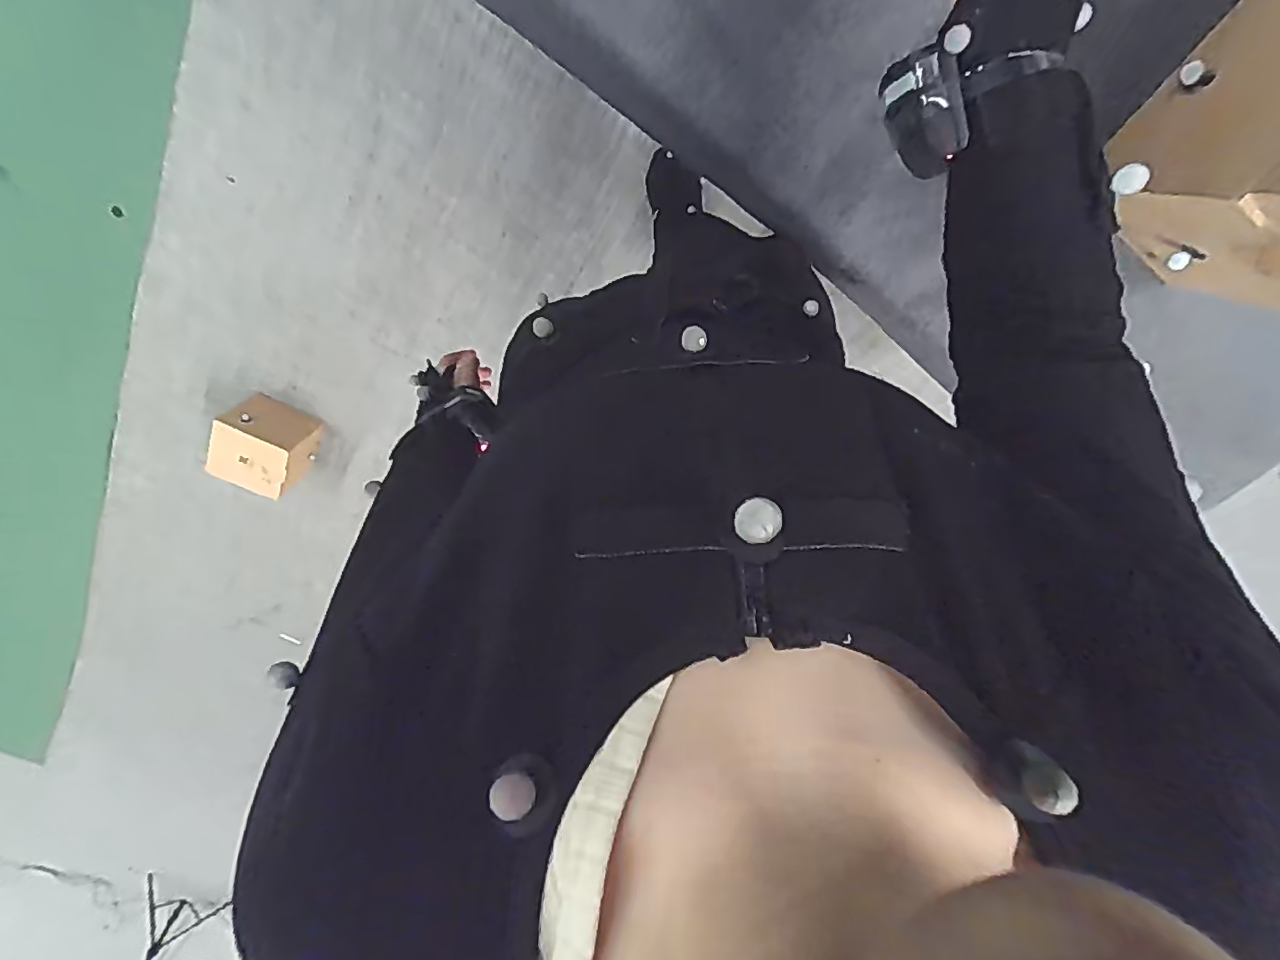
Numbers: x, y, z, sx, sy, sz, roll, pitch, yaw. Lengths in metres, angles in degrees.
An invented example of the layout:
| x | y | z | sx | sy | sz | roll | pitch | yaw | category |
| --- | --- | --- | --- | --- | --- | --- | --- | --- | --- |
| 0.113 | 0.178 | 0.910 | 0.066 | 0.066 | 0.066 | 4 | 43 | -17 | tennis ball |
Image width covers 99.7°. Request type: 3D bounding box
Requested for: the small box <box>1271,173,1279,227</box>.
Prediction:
| x | y | z | sx | sy | sz | roll | pitch | yaw | category |
| --- | --- | --- | --- | --- | --- | --- | --- | --- | --- |
| 0.497 | -0.164 | 0.267 | 0.168 | 0.176 | 0.179 | 31 | 115 | -18 | small box |

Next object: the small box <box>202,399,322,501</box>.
| x | y | z | sx | sy | sz | roll | pitch | yaw | category |
| --- | --- | --- | --- | --- | --- | --- | --- | --- | --- |
| -0.948 | -0.083 | 1.366 | 0.179 | 0.176 | 0.168 | 26 | 118 | -14 | small box |
